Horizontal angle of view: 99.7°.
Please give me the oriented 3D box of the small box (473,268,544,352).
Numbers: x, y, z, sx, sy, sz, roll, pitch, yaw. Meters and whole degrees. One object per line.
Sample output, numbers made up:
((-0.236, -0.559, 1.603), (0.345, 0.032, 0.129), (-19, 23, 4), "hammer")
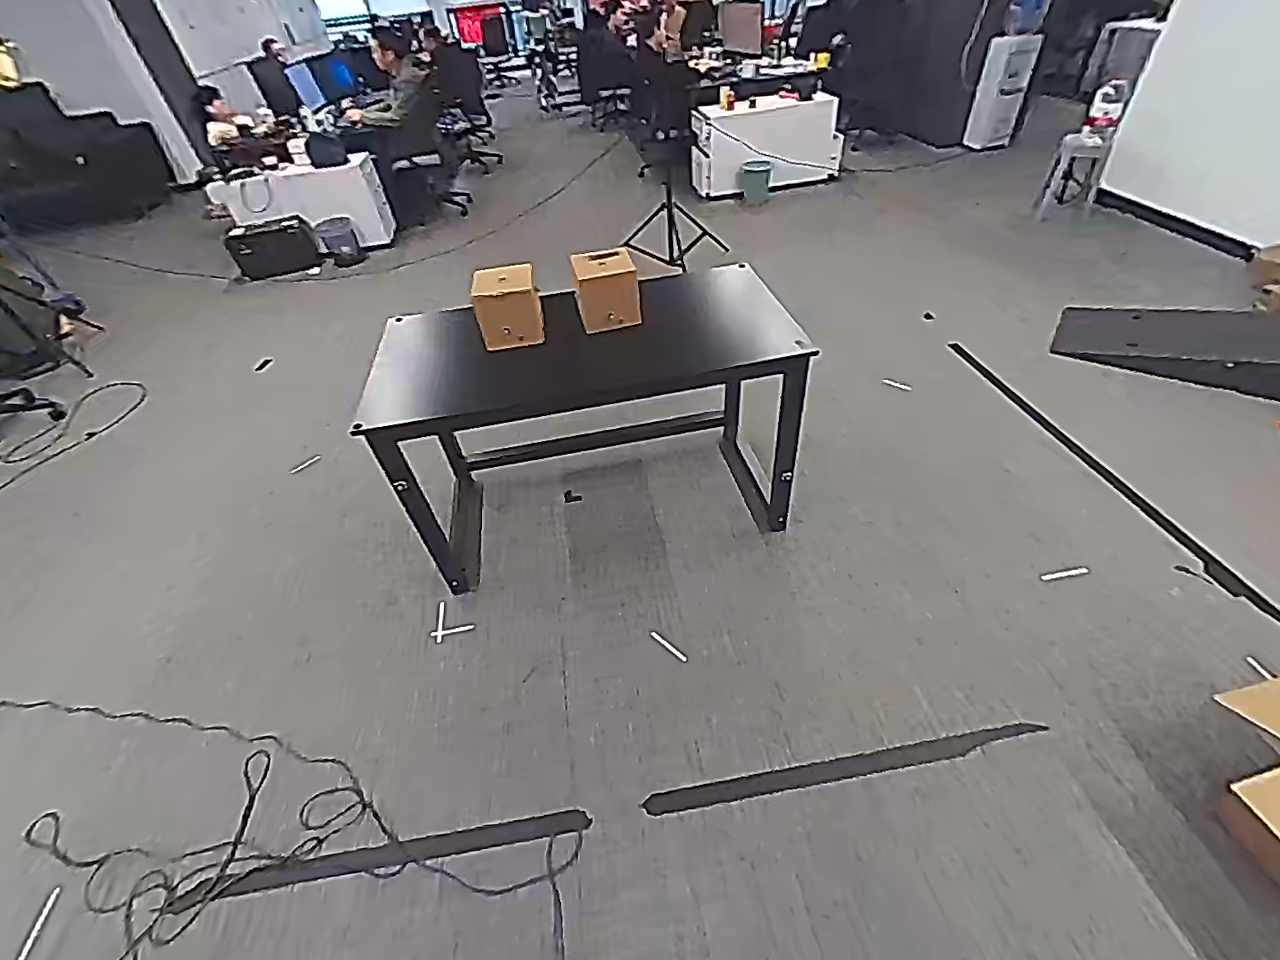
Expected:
((-0.378, -0.497, 1.581), (0.168, 0.176, 0.179), (-10, 44, -3), "small box")
